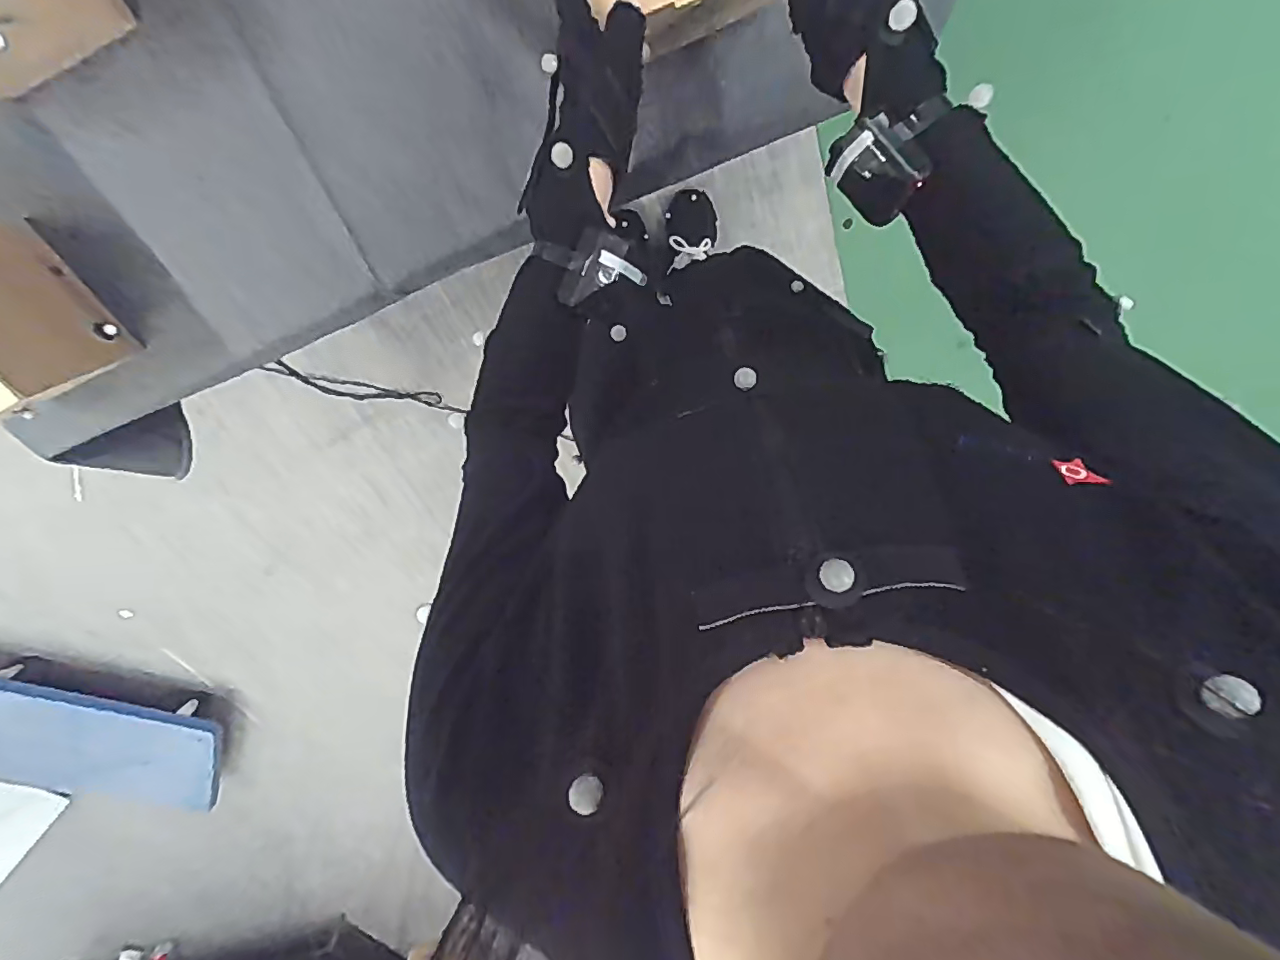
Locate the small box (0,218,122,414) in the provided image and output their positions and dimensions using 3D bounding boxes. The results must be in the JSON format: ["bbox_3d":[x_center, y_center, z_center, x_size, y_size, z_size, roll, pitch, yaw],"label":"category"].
[{"bbox_3d":[-0.722,-0.158,0.573,0.179,0.176,0.168,-21,119,10],"label":"small box"}]

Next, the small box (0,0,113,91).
[{"bbox_3d":[-0.579,-0.431,0.417,0.179,0.176,0.168,-19,121,8],"label":"small box"}]
